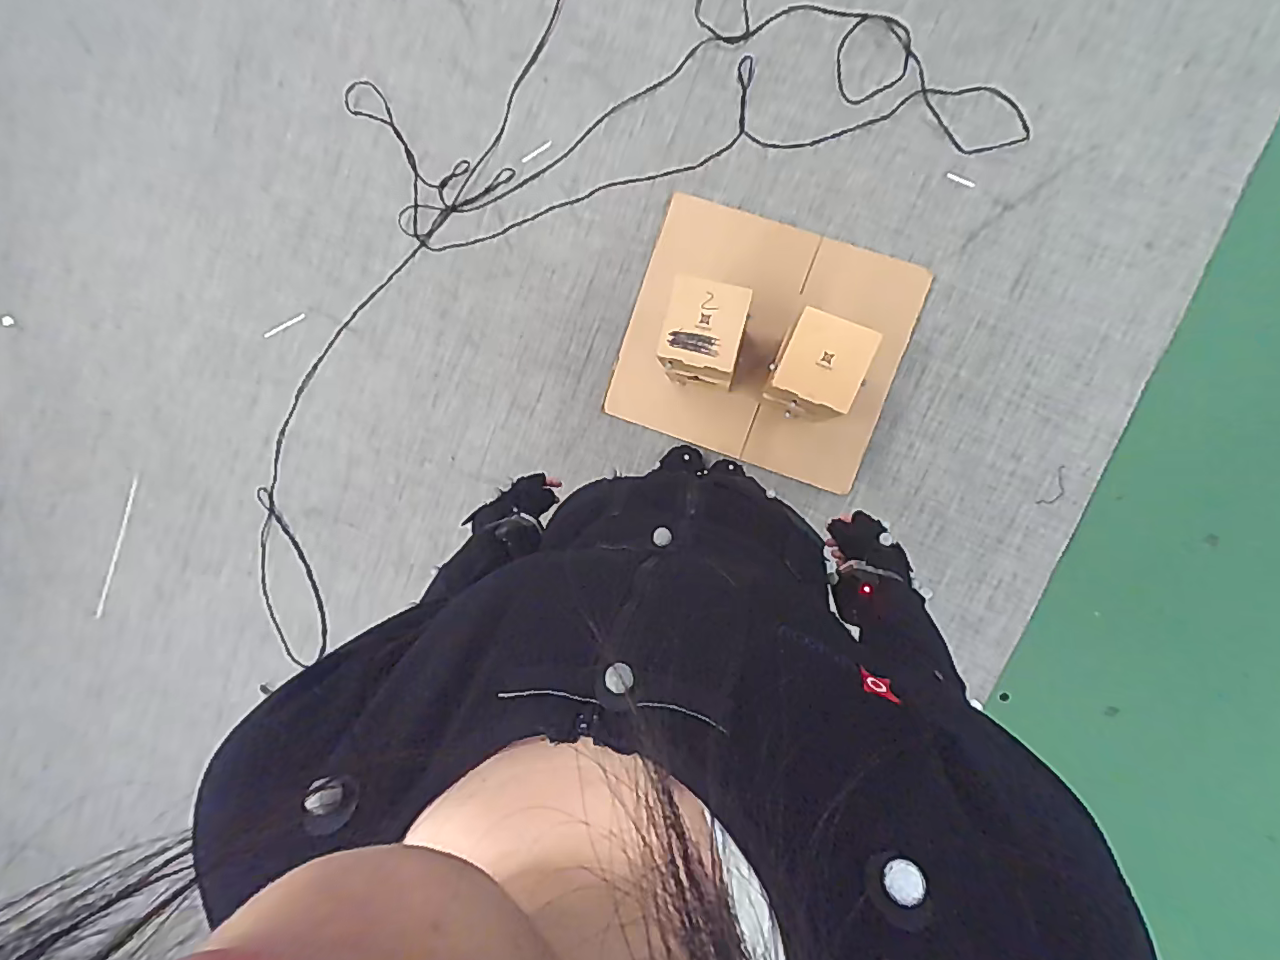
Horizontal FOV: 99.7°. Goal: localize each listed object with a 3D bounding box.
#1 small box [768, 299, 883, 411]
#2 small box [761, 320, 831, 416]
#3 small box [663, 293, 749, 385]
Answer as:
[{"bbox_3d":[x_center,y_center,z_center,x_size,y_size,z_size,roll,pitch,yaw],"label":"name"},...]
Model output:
[{"bbox_3d":[0.386,-0.260,1.162,0.168,0.176,0.179,23,98,5],"label":"small box"},{"bbox_3d":[0.403,-0.267,1.324,0.168,0.176,0.179,20,97,7],"label":"small box"},{"bbox_3d":[0.165,-0.342,1.345,0.168,0.176,0.179,16,96,6],"label":"small box"}]
